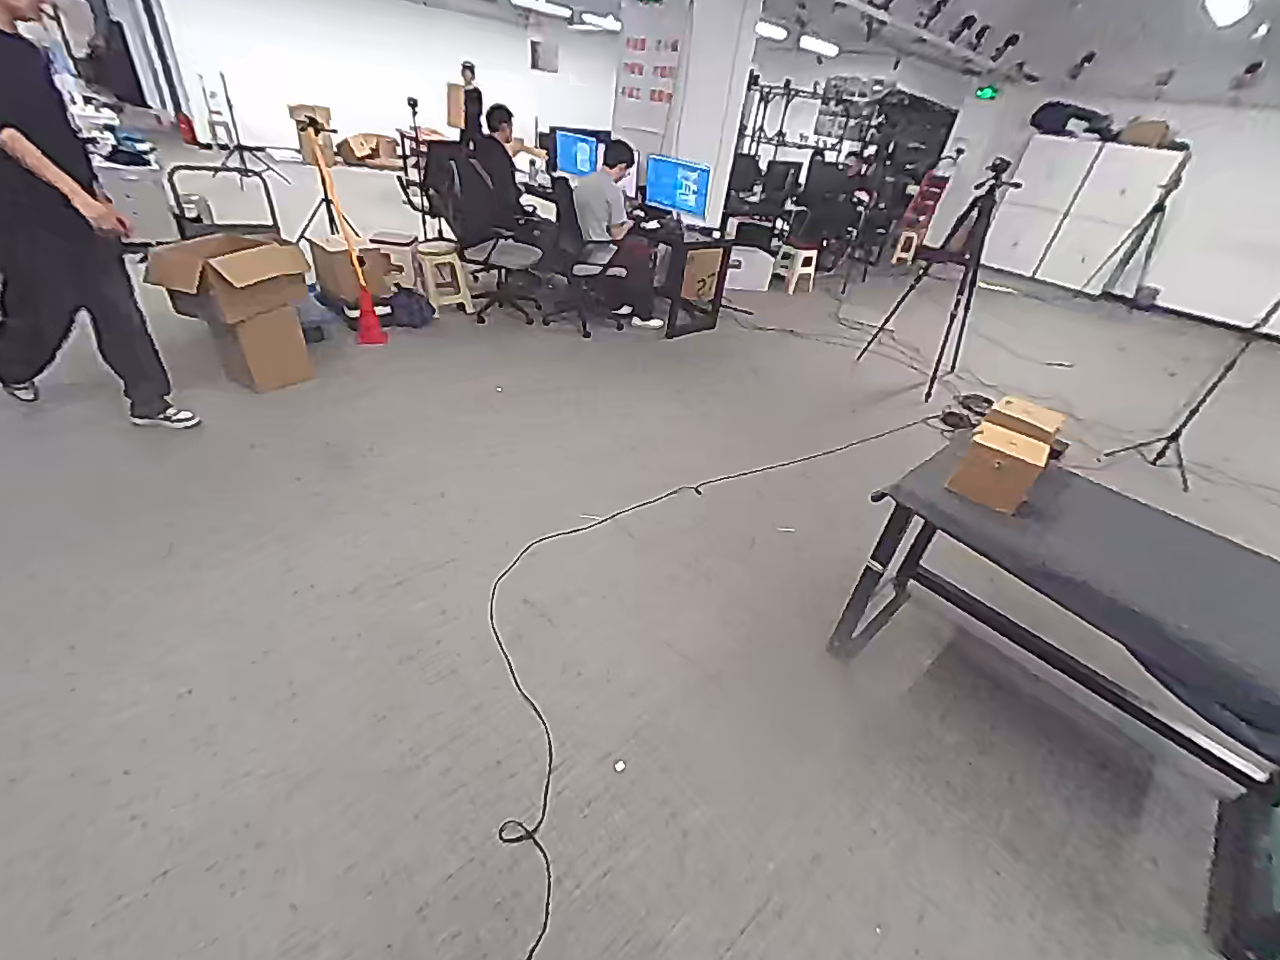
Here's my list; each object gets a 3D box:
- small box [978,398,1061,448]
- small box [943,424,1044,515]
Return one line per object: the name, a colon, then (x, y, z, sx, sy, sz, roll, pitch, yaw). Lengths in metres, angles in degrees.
small box: (1.164, -0.131, 1.701, 0.168, 0.176, 0.179, -24, 47, -37)
small box: (0.985, -0.029, 1.516, 0.179, 0.176, 0.168, 30, 40, 26)
